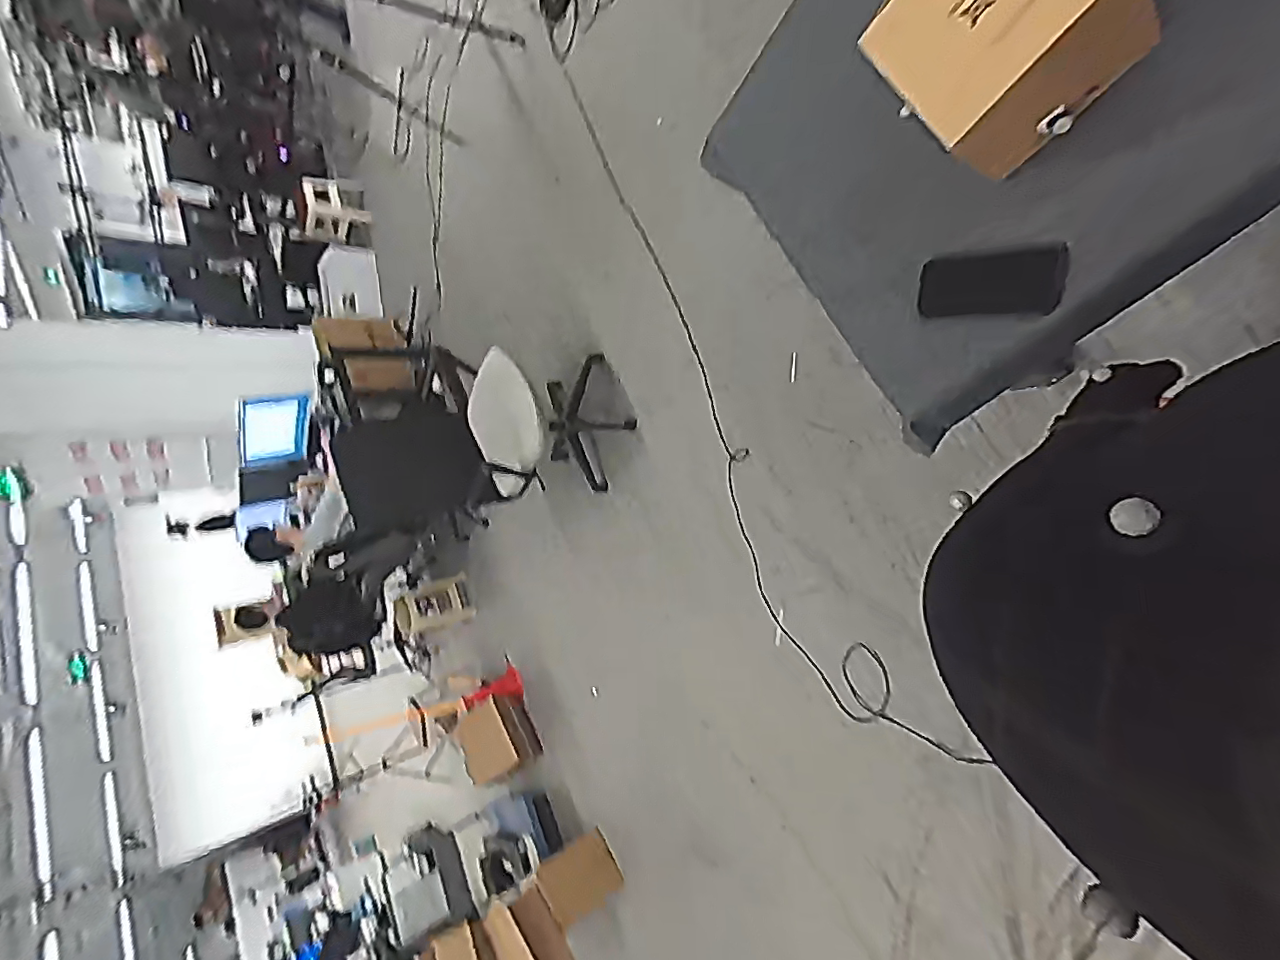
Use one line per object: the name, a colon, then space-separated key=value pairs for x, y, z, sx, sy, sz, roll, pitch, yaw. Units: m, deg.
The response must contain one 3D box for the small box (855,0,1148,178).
small box: x=0.370 y=-0.450 z=0.562 sx=0.168 sy=0.176 sz=0.179 roll=-45 pitch=65 yaw=45
